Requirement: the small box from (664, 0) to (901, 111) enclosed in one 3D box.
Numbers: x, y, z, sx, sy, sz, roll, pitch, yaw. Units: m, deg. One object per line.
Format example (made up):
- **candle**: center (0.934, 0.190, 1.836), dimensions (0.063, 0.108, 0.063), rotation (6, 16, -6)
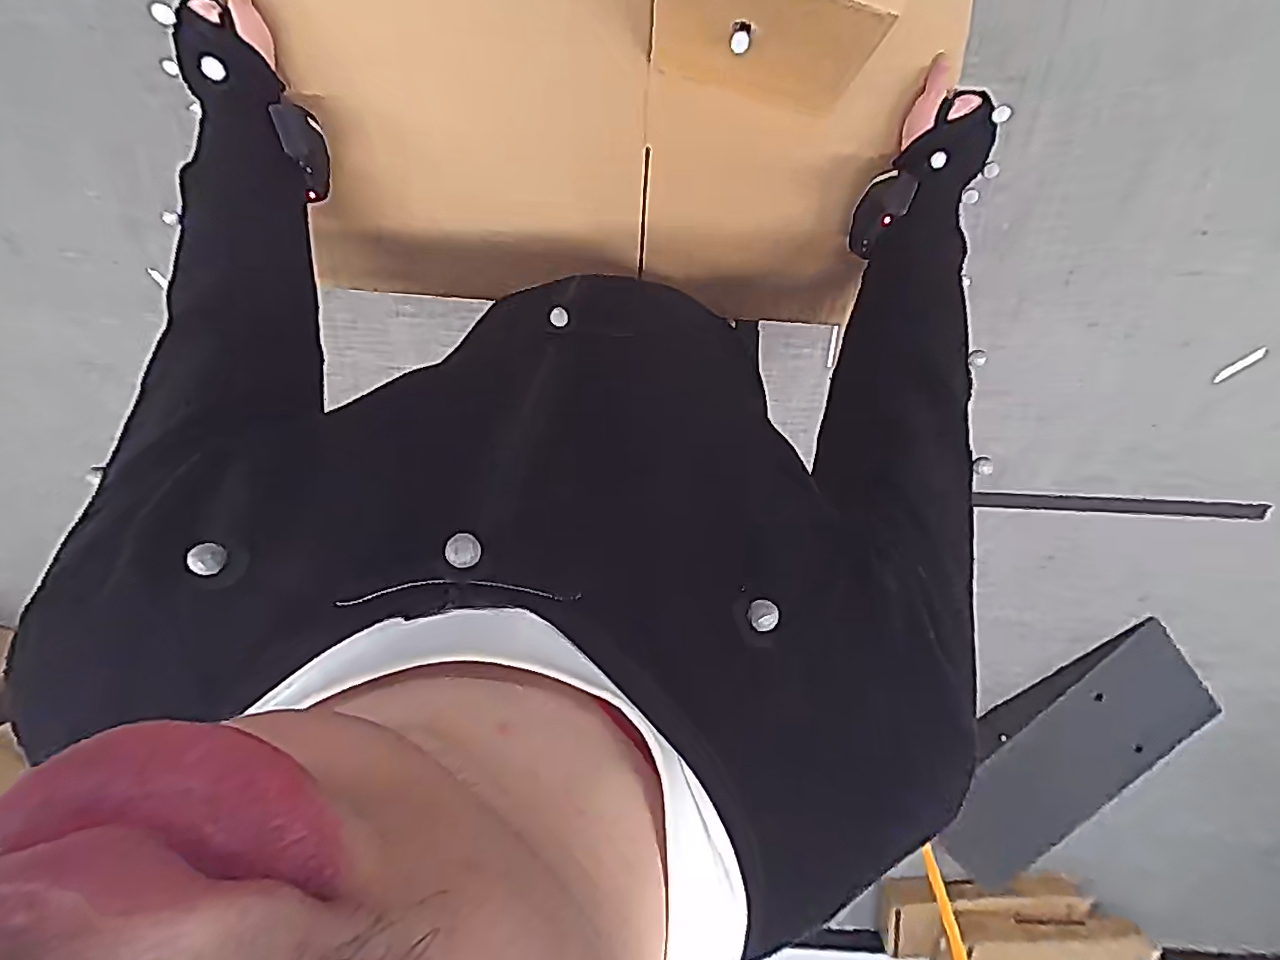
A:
- **small box**: center (0.120, -0.438, 0.439), dimensions (0.179, 0.176, 0.168), rotation (14, 103, -1)
